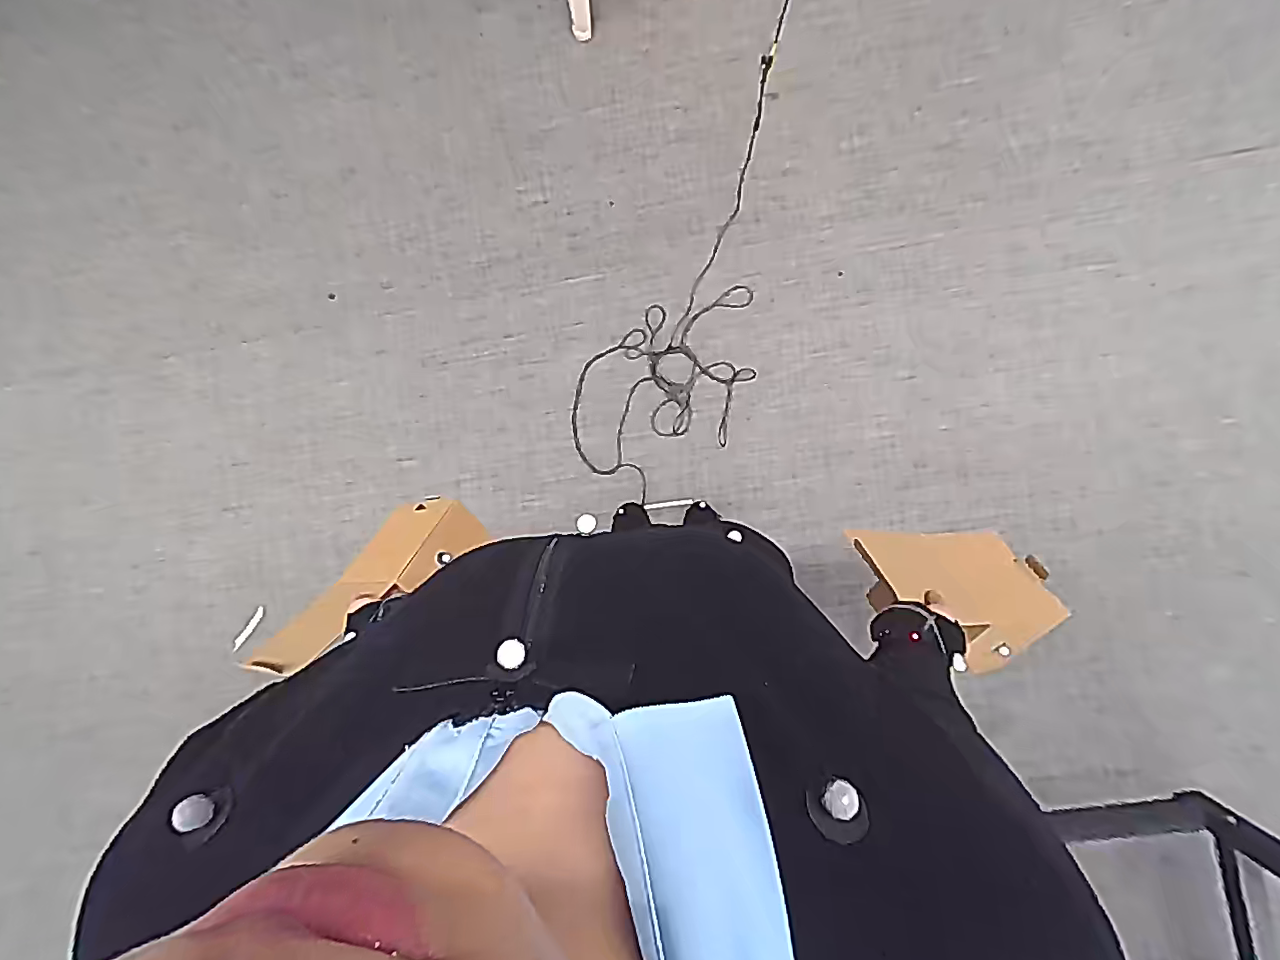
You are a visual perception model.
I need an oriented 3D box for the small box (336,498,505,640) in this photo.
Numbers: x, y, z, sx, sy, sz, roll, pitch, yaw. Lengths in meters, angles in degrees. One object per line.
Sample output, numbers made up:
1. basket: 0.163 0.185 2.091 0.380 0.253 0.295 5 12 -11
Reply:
1. small box: -0.364 0.155 0.928 0.168 0.179 0.176 -6 132 33
